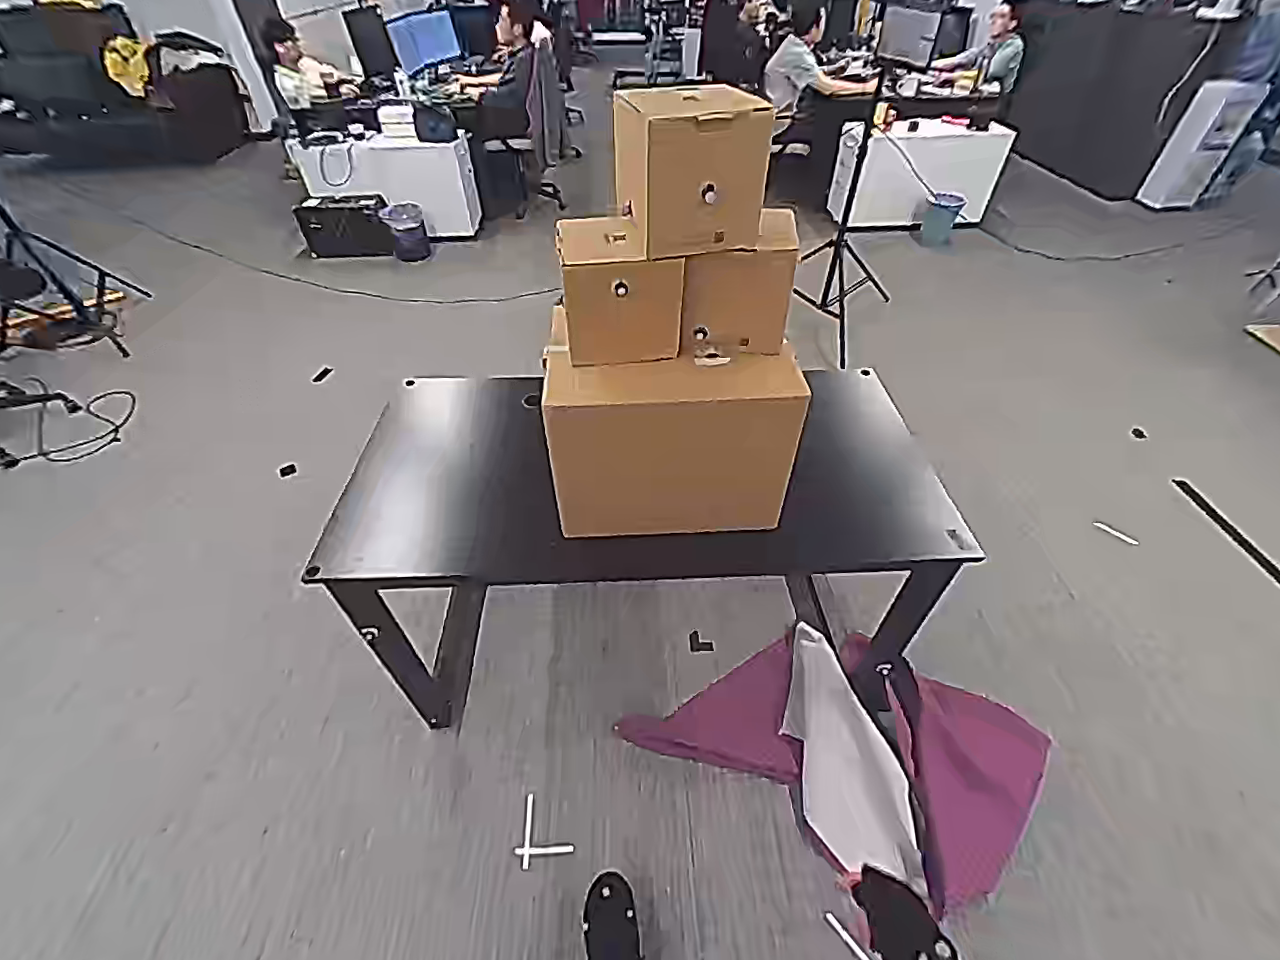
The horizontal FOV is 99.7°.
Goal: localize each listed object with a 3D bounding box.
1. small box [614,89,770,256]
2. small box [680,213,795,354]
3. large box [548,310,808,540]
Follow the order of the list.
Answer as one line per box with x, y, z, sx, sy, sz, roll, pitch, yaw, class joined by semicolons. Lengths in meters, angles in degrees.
0.064;-0.430;0.765;0.168;0.176;0.179;-11;46;-11;small box
0.155;-0.323;0.888;0.168;0.176;0.179;5;43;6;small box
0.045;-0.108;1.017;0.408;0.320;0.320;-2;45;-3;large box
